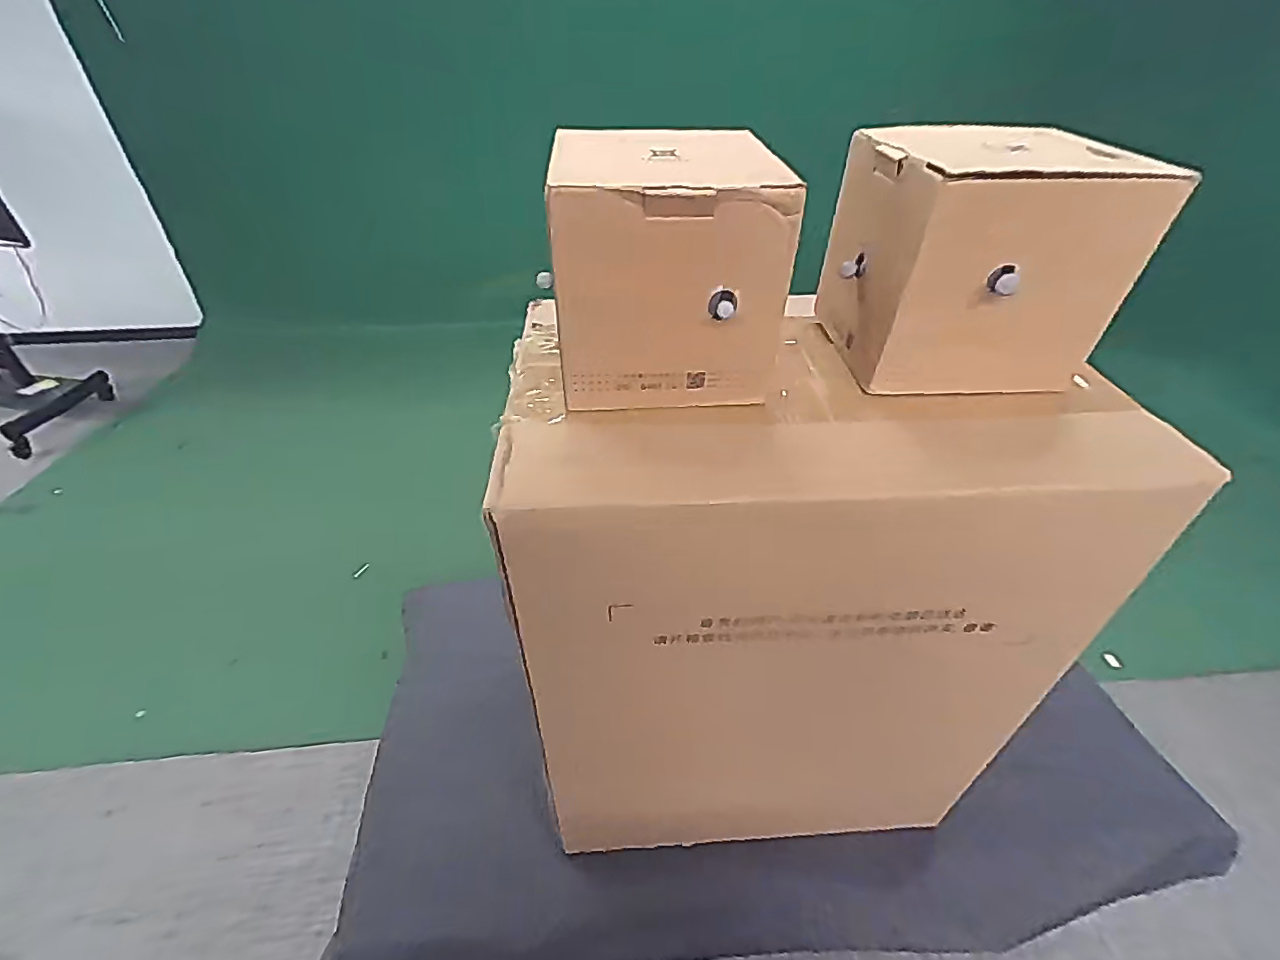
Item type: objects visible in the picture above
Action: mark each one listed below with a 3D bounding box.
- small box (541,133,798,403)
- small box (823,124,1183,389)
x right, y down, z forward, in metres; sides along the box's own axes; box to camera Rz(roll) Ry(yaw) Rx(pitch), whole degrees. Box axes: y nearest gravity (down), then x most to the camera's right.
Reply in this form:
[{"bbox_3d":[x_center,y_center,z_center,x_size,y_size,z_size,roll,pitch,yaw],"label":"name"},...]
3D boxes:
[{"bbox_3d":[0.014,-0.175,0.450,0.168,0.176,0.179,-2,41,-4],"label":"small box"},{"bbox_3d":[0.270,-0.189,0.463,0.179,0.176,0.168,-3,43,-2],"label":"small box"}]
